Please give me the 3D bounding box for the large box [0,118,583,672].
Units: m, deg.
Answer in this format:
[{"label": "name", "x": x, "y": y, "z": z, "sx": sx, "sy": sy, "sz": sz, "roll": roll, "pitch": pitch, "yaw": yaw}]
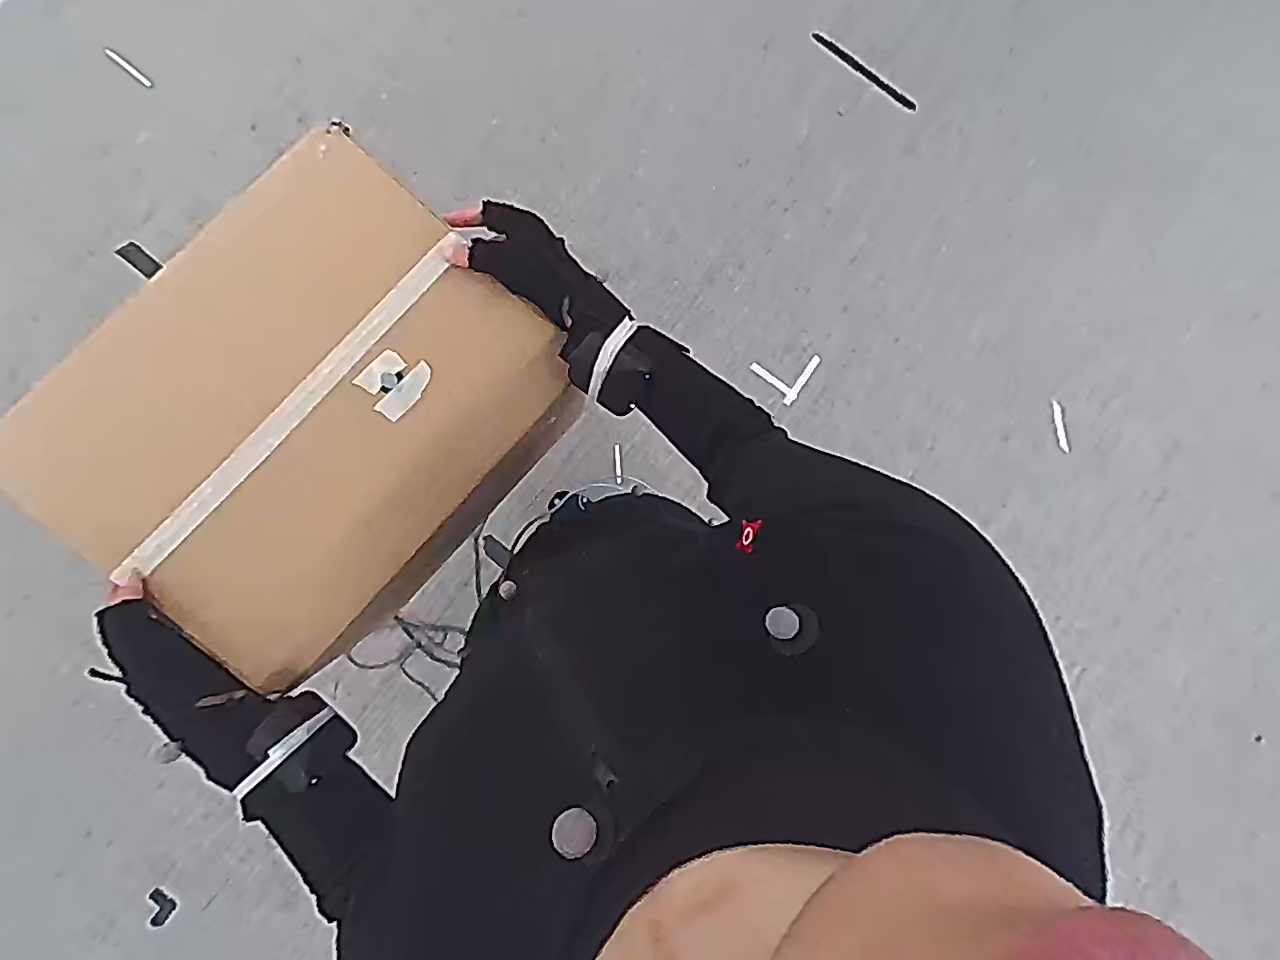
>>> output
[{"label": "large box", "x": -0.313, "y": -0.073, "z": 0.621, "sx": 0.320, "sy": 0.320, "sz": 0.408, "roll": 42, "pitch": 83, "yaw": -6}]
